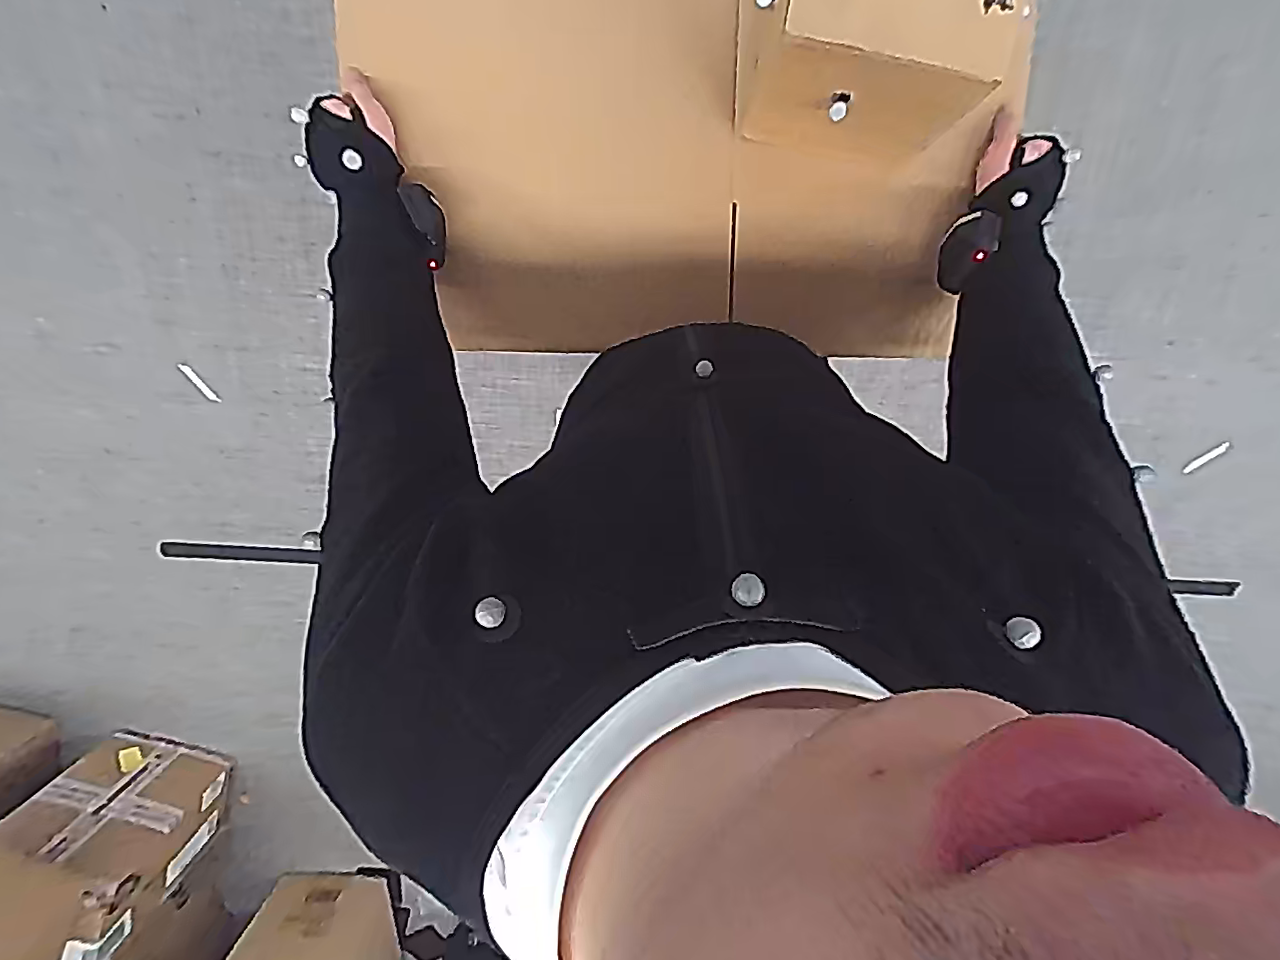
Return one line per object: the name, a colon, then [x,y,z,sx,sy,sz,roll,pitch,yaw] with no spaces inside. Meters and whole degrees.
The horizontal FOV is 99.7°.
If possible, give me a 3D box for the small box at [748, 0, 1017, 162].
small box: [0.205,-0.412,0.479,0.179,0.176,0.168,11,100,-1]
